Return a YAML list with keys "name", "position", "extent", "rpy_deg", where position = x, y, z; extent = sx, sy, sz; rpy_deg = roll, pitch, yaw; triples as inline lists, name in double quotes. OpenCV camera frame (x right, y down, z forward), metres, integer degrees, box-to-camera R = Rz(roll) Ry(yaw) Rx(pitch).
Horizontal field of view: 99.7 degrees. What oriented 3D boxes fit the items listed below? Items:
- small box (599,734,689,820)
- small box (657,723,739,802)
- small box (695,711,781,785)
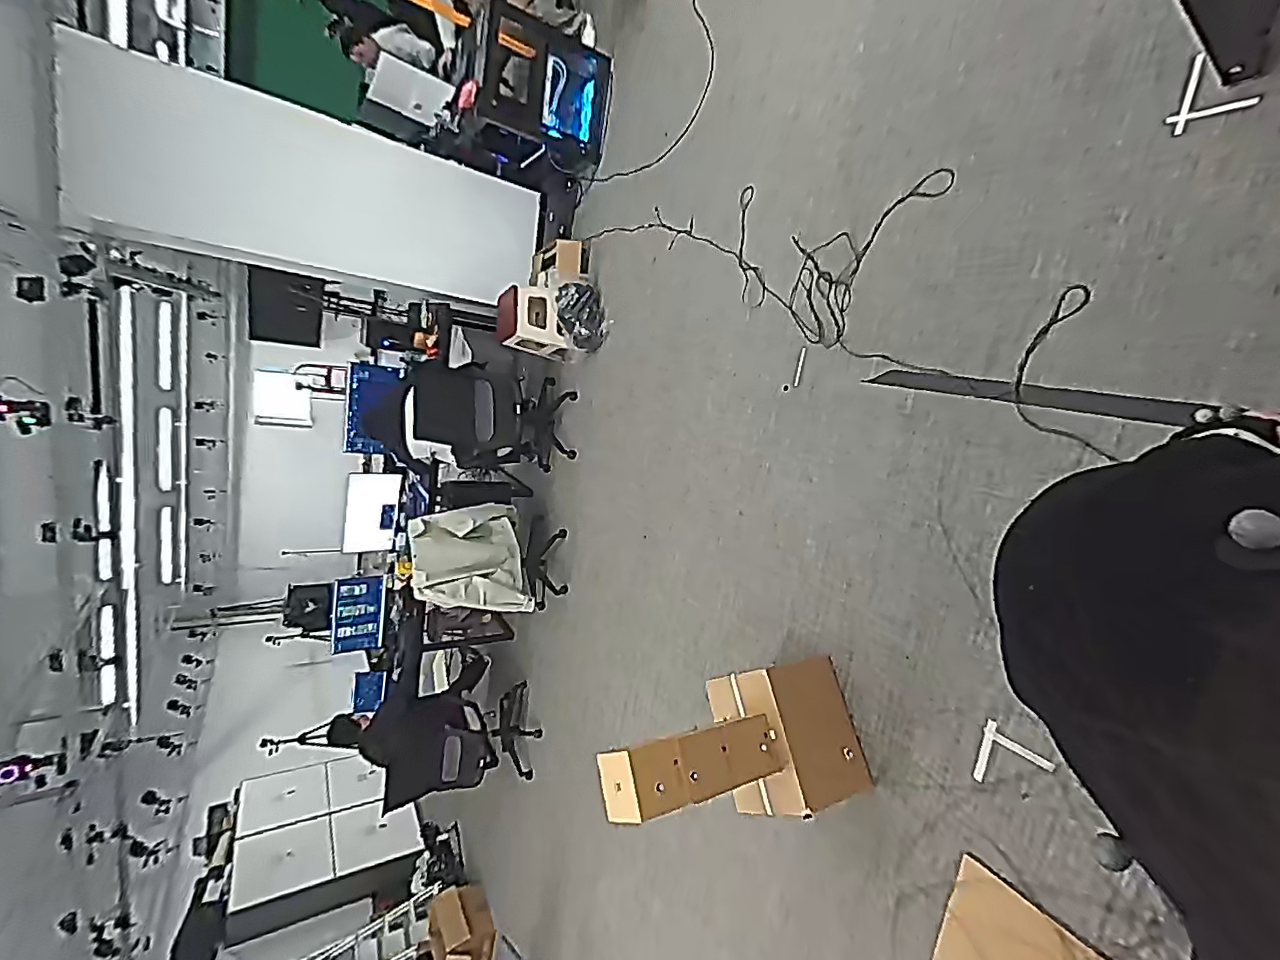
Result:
- name: "small box"
  position: [0.016, 0.793, 1.450]
  extent: [0.179, 0.176, 0.168]
  rpy_deg: [-42, 54, 48]
- name: "small box"
  position: [0.152, 0.802, 1.539]
  extent: [0.179, 0.176, 0.168]
  rpy_deg: [-42, 55, 49]
- name: "small box"
  position: [0.291, 0.806, 1.626]
  extent: [0.179, 0.176, 0.168]
  rpy_deg: [-41, 55, 48]
